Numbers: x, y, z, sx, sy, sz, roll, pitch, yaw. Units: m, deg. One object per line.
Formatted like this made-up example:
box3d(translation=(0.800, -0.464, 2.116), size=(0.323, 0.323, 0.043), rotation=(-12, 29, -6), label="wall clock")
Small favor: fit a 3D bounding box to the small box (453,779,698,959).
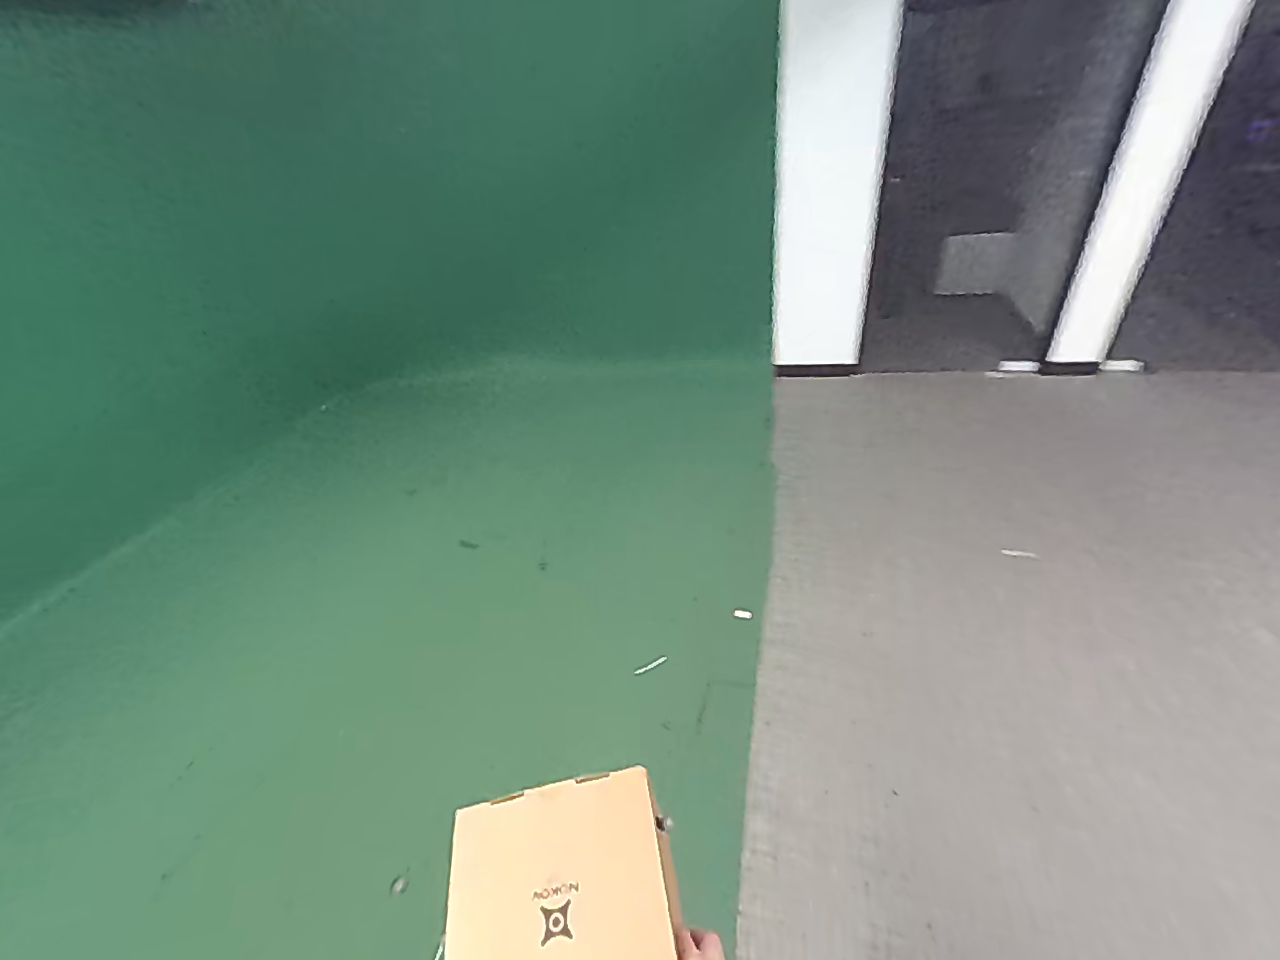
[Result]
box3d(translation=(-0.042, 0.380, 0.441), size=(0.168, 0.176, 0.179), rotation=(-12, 41, -2), label="small box")
